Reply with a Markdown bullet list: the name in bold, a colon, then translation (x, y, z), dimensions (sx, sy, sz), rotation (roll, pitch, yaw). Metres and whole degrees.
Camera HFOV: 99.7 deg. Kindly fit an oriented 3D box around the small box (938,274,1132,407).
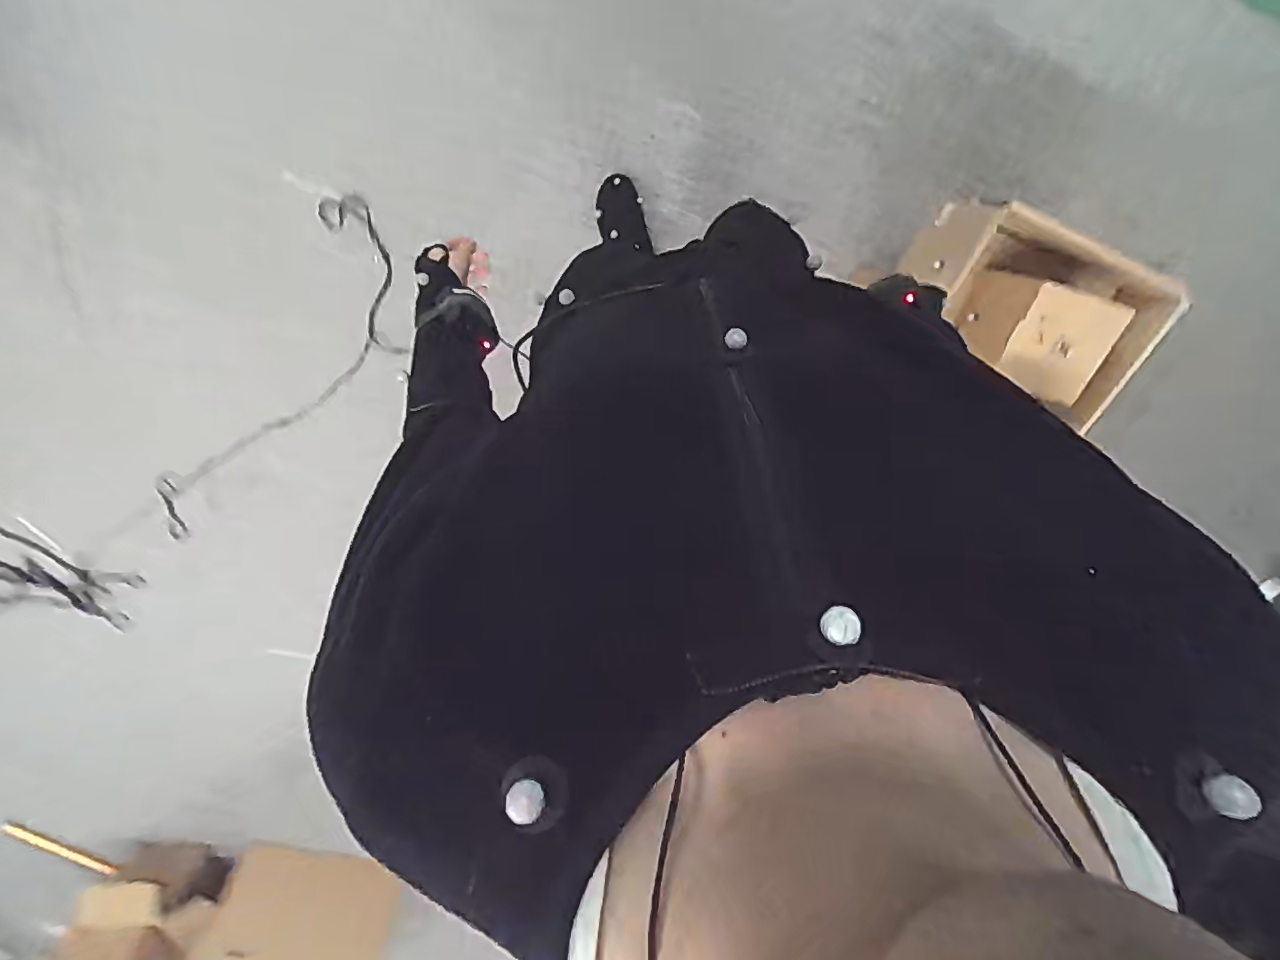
- **small box**: translation (0.676, -0.250, 0.949), dimensions (0.179, 0.176, 0.168), rotation (14, 116, -10)
